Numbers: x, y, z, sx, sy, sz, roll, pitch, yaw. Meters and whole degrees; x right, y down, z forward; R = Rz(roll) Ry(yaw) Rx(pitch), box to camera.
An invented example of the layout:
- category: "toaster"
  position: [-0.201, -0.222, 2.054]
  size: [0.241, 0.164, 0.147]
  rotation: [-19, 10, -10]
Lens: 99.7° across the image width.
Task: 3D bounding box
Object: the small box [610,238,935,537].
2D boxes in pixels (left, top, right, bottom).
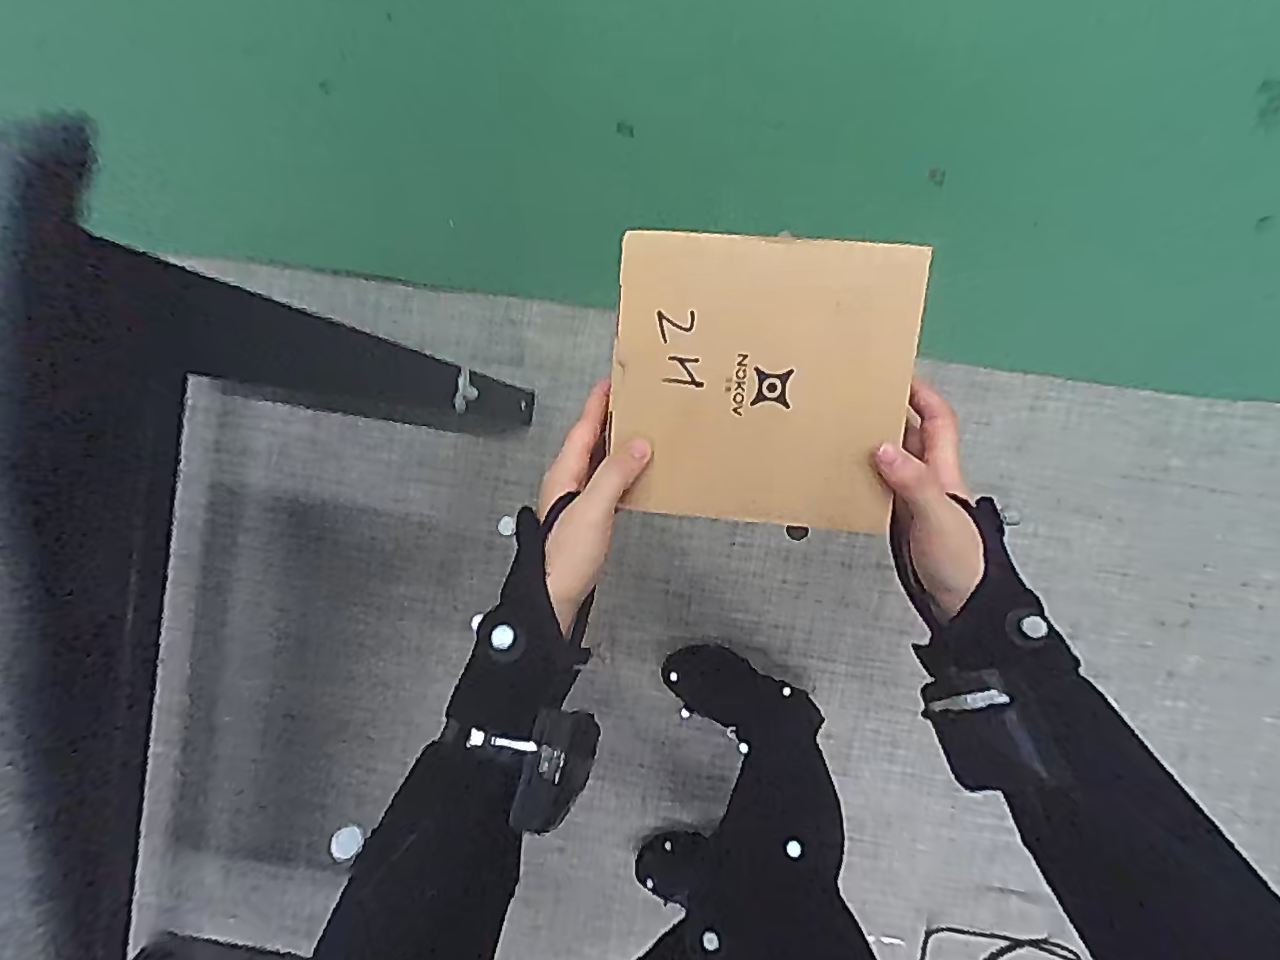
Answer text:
- category: "small box"
  position: [0.081, -0.064, 0.402]
  size: [0.179, 0.176, 0.168]
  rotation: [6, 98, 5]
